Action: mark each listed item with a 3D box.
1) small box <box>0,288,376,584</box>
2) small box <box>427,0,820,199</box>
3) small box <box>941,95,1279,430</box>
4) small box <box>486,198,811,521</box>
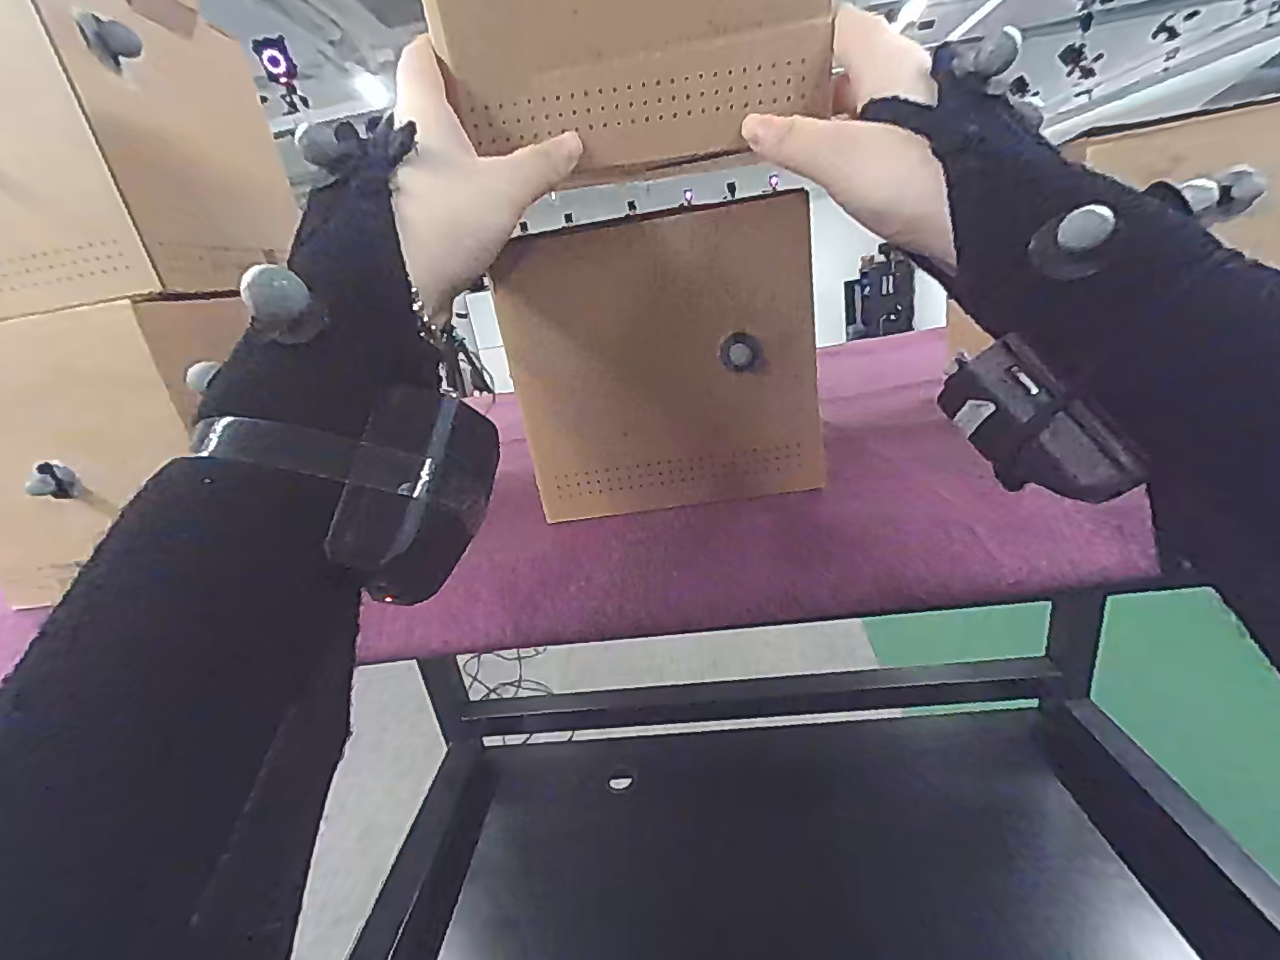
[{"bbox_3d":[-0.323,-0.036,0.391,0.168,0.176,0.179,-7,20,4],"label":"small box"},{"bbox_3d":[-0.010,-0.253,0.291,0.179,0.176,0.168,-7,26,1],"label":"small box"},{"bbox_3d":[0.335,-0.137,0.376,0.179,0.176,0.168,-7,17,8],"label":"small box"},{"bbox_3d":[0.016,-0.085,0.387,0.179,0.176,0.168,-9,19,4],"label":"small box"}]
